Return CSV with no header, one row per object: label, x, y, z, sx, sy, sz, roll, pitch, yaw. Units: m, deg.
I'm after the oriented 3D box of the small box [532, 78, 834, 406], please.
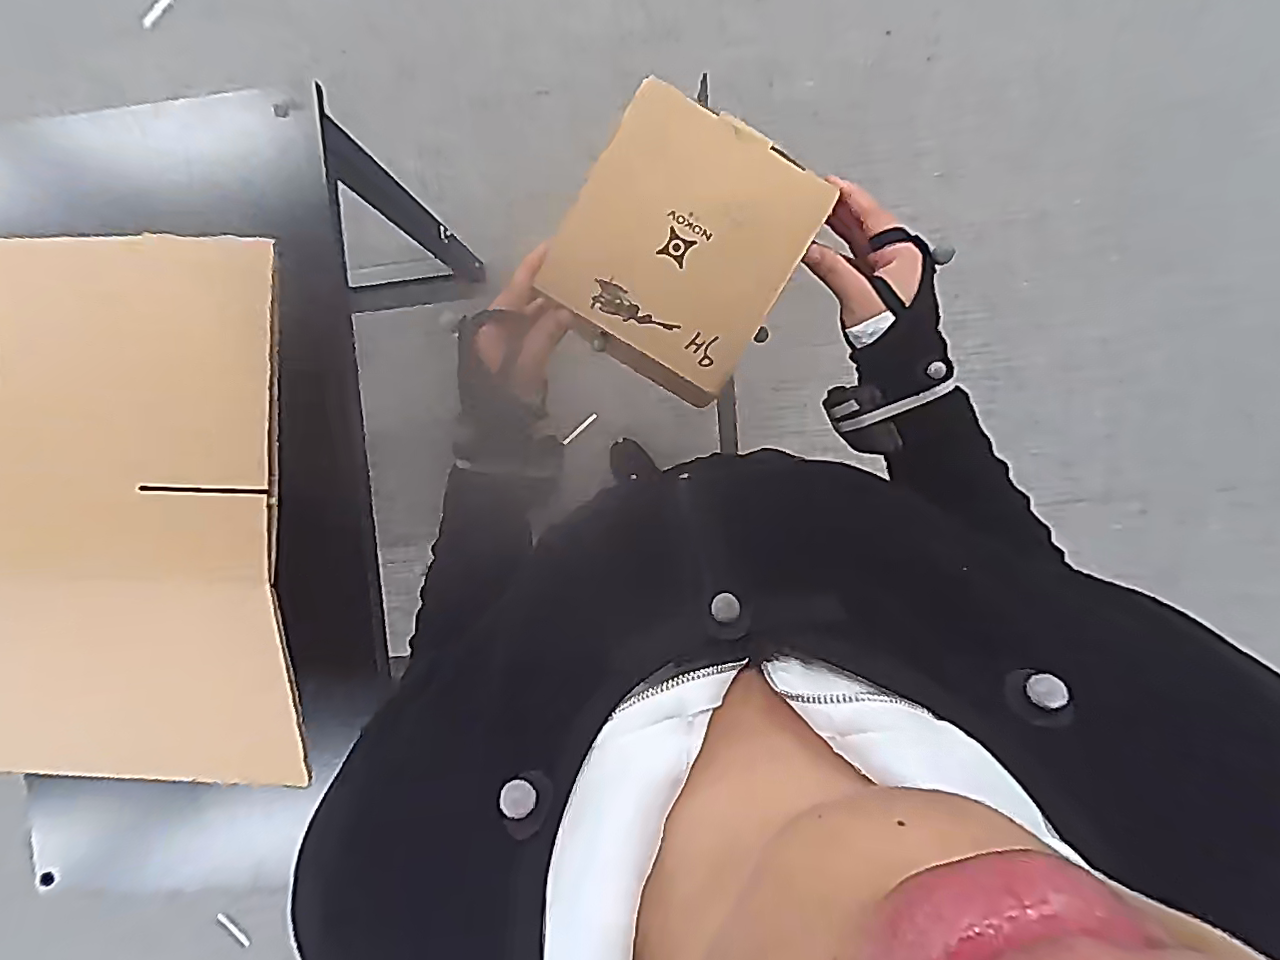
small box,0.033,-0.184,0.478,0.168,0.176,0.179,32,94,1
